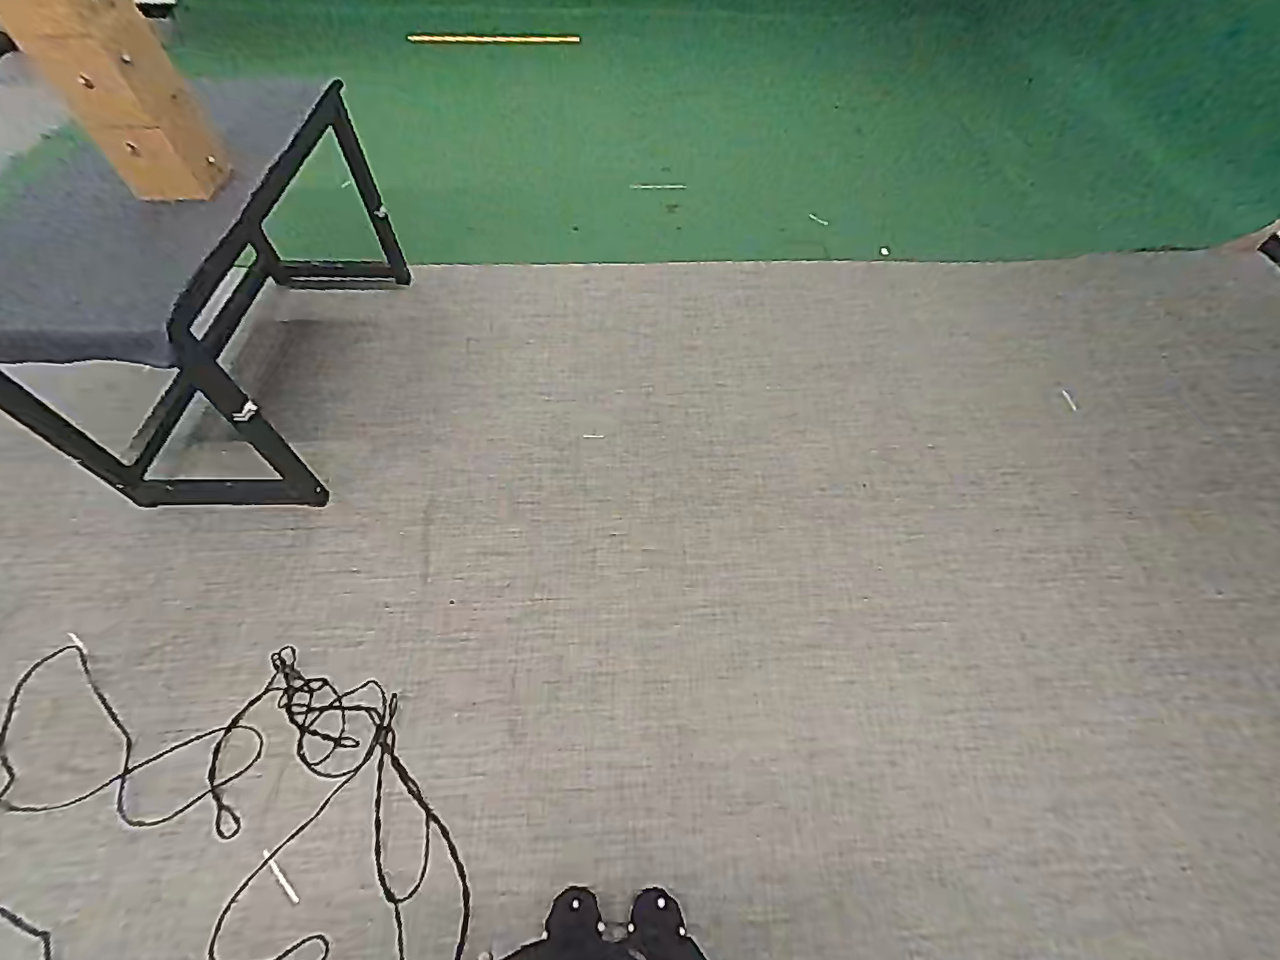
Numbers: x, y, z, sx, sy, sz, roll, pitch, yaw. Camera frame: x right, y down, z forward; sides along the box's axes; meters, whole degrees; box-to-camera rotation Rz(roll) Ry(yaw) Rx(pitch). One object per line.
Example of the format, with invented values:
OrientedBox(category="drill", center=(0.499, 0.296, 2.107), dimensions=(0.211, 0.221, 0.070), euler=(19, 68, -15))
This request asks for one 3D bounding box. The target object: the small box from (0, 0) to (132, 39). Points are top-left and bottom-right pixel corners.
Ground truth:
OrientedBox(category="small box", center=(-1.177, -0.992, 1.057), dimensions=(0.179, 0.176, 0.168), euler=(1, 56, 0))

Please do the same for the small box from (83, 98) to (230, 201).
OrientedBox(category="small box", center=(-1.170, -0.807, 1.326), dimensions=(0.179, 0.176, 0.168), euler=(-2, 57, -2))
